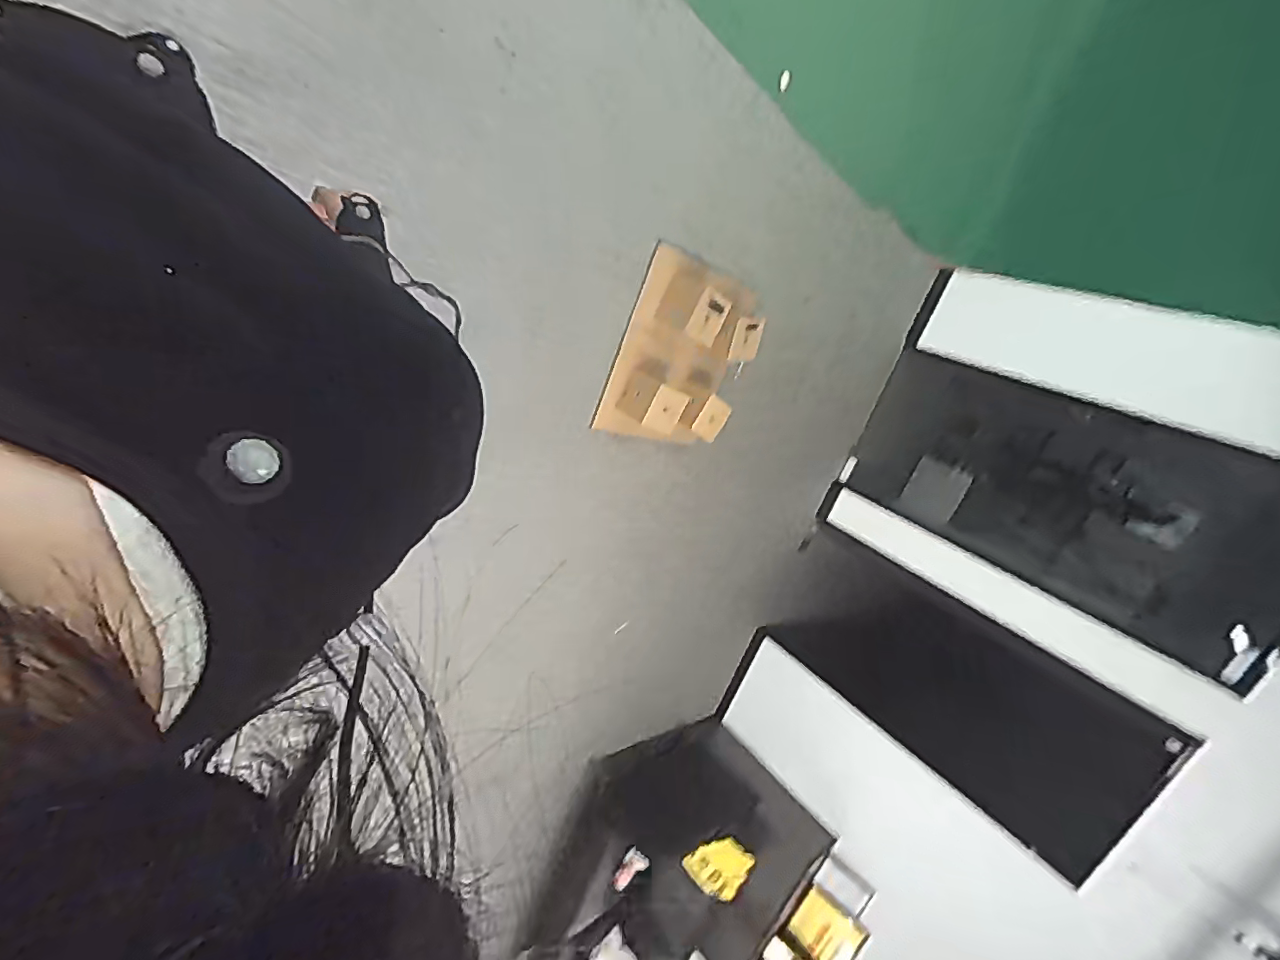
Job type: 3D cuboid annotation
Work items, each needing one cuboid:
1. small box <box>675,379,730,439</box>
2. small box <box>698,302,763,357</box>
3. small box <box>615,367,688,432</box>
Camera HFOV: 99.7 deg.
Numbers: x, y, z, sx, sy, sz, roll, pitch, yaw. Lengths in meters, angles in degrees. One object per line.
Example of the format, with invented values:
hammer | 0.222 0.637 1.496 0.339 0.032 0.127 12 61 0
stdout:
small box | 0.230 -0.296 2.216 0.179 0.176 0.168 24 99 -51
small box | 0.350 -0.594 2.121 0.168 0.176 0.179 -12 127 -39
small box | 0.038 -0.304 2.017 0.179 0.176 0.168 14 107 -49
